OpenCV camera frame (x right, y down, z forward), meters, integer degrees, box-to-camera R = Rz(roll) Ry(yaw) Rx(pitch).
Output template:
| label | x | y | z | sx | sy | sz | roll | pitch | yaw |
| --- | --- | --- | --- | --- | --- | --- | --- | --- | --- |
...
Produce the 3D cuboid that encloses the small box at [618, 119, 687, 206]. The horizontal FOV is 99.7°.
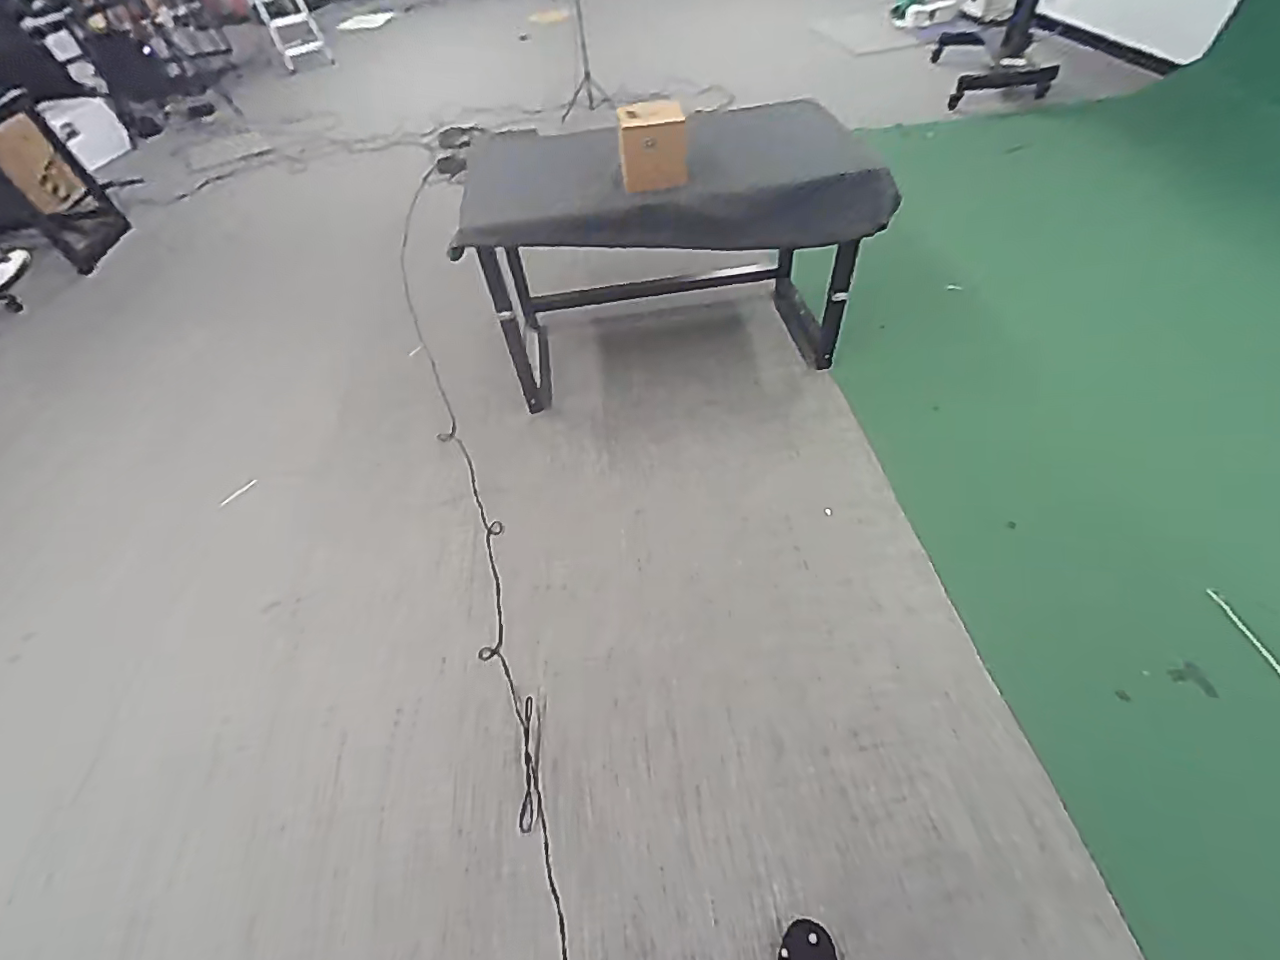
| label | x | y | z | sx | sy | sz | roll | pitch | yaw |
| --- | --- | --- | --- | --- | --- | --- | --- | --- | --- |
| small box | 0.038 | -0.914 | 1.563 | 0.179 | 0.176 | 0.168 | -8 | 51 | -1 |
